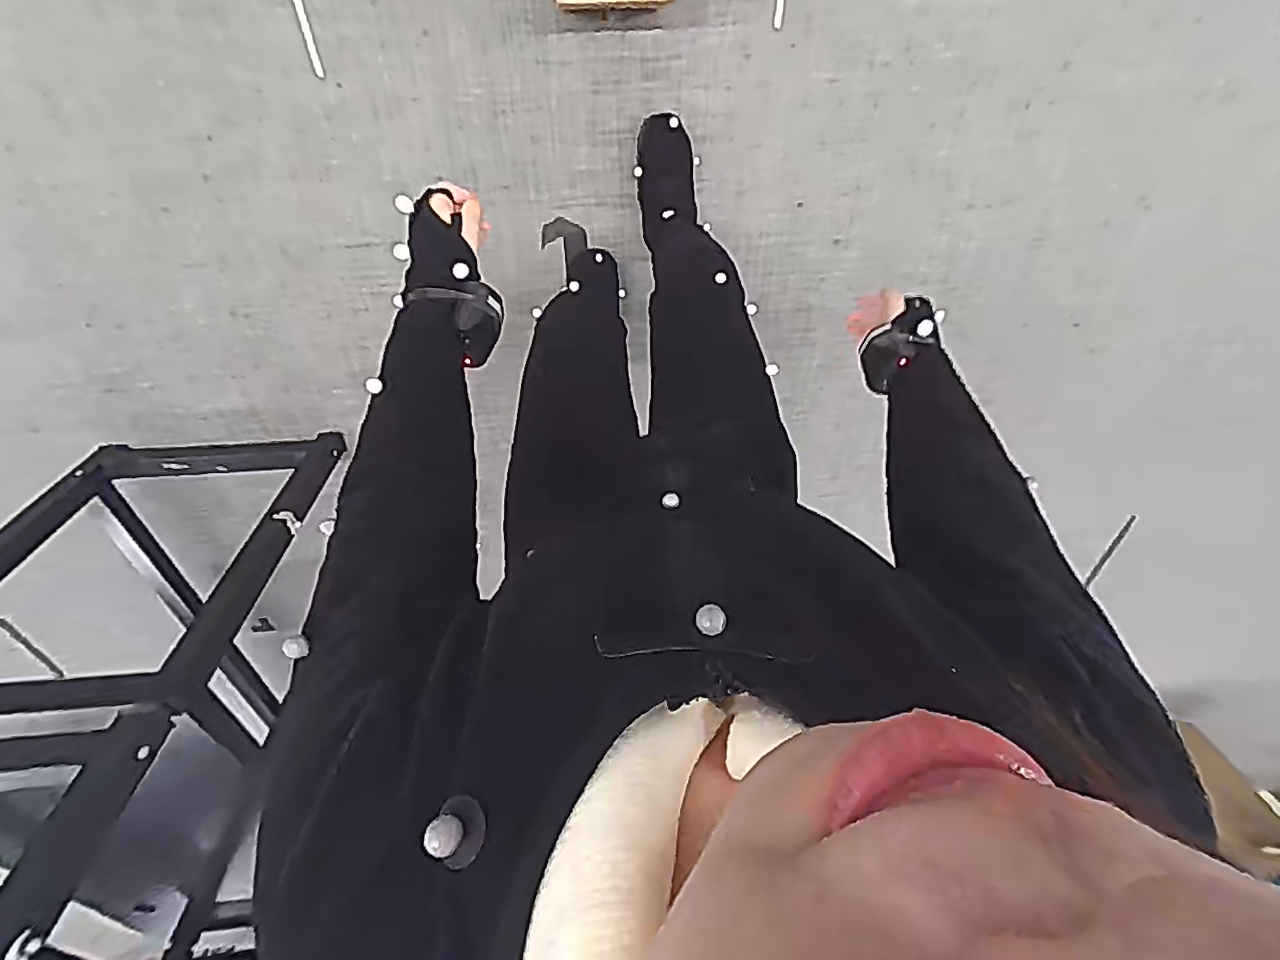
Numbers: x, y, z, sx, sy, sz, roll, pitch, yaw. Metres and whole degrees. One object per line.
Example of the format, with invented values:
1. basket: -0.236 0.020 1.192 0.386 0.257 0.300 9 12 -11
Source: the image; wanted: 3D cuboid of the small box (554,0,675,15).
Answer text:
1. small box: -0.045 -0.797 0.793 0.179 0.176 0.168 -5 128 -4
